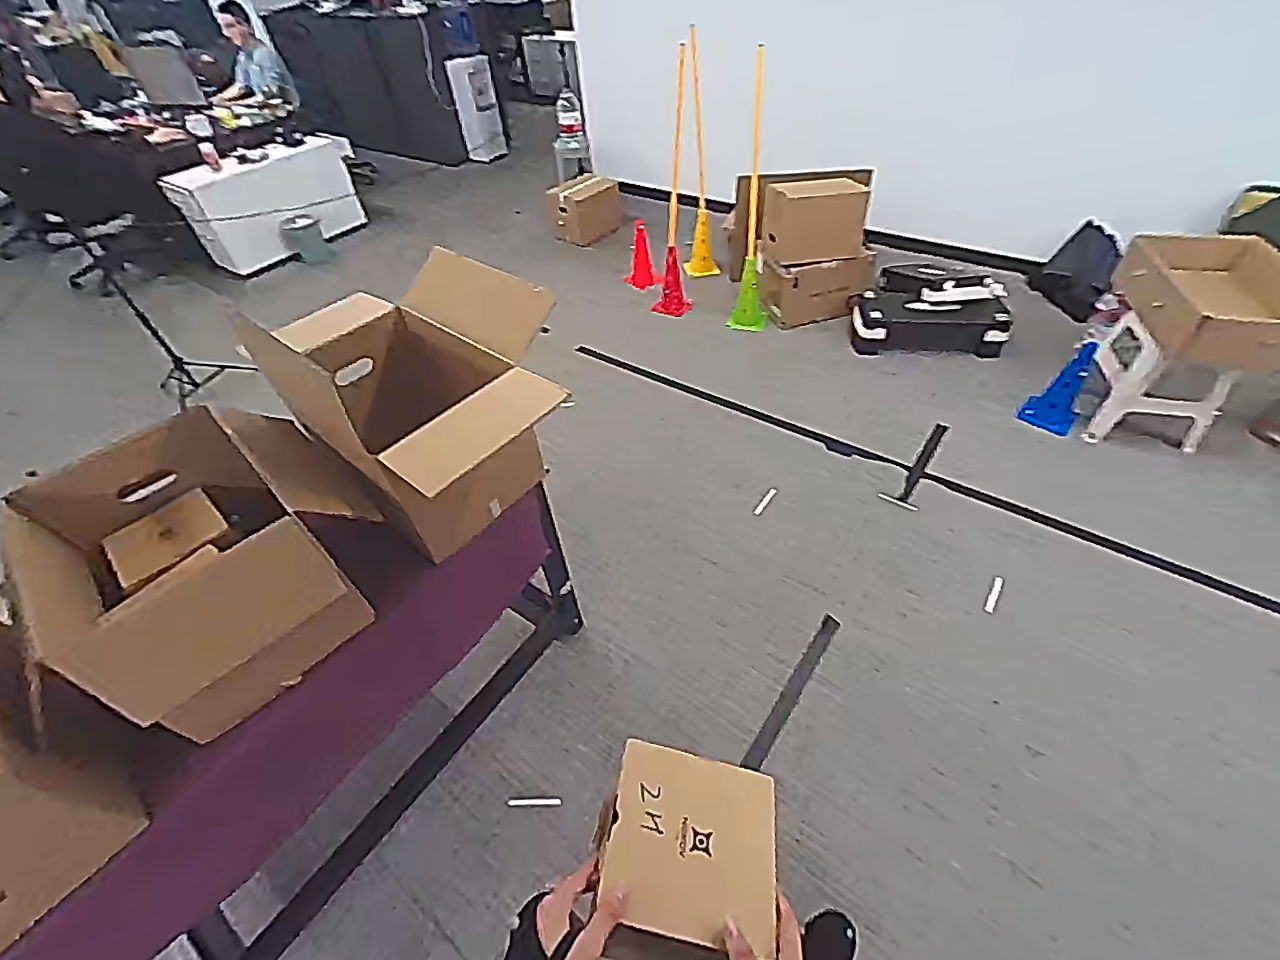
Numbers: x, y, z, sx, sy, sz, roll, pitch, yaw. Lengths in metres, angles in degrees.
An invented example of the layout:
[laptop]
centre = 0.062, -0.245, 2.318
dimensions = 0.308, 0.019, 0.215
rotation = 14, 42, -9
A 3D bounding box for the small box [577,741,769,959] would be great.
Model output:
[small box]
centre = 0.036, 0.429, 0.610
dimensions = 0.179, 0.176, 0.168
rotation = 12, 40, 2
